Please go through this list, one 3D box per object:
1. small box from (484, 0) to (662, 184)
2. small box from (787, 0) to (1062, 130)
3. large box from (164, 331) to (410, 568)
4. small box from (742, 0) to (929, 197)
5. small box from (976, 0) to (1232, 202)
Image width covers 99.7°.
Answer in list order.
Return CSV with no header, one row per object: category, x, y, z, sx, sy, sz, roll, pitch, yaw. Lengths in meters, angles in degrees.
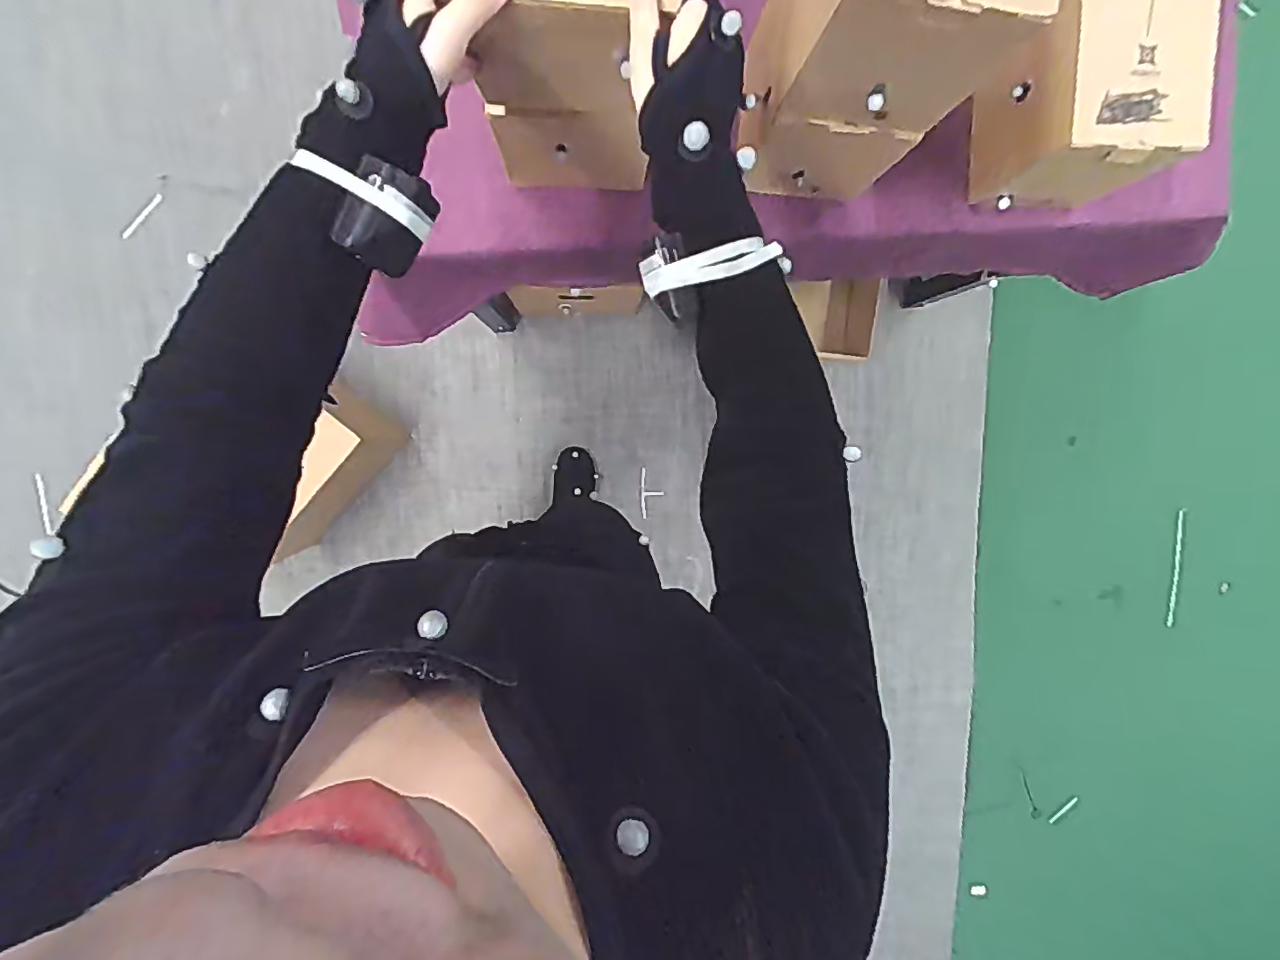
small box,-0.069,-0.455,0.614,0.179,0.176,0.168,-1,98,-4
small box,0.242,-0.453,0.476,0.168,0.176,0.179,5,97,-5
large box,-0.832,-0.071,1.268,0.320,0.320,0.408,41,91,-9
small box,0.227,-0.466,0.639,0.168,0.176,0.179,4,98,-5
small box,0.547,-0.462,0.664,0.168,0.176,0.179,-1,96,-4
